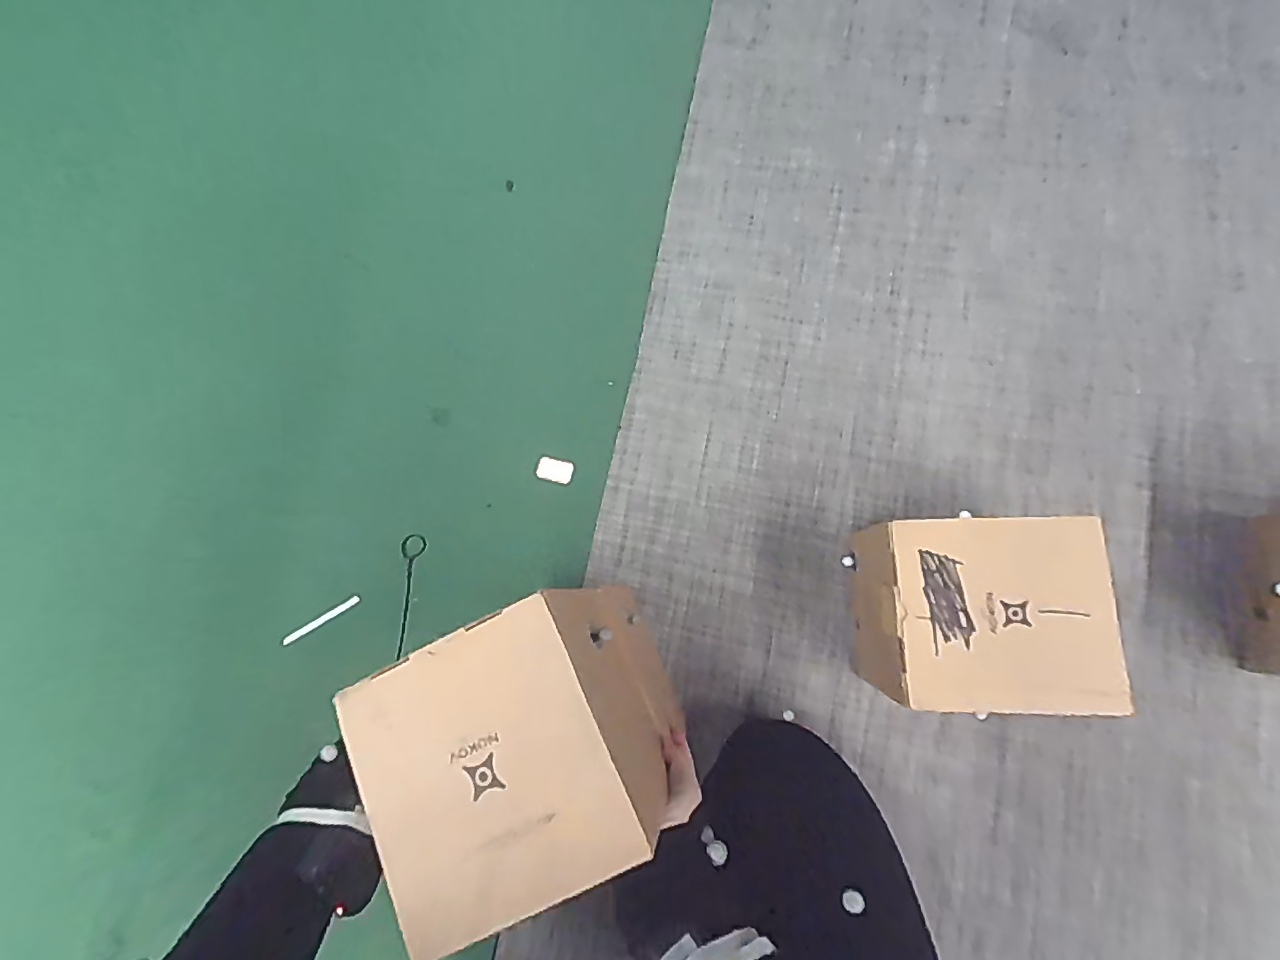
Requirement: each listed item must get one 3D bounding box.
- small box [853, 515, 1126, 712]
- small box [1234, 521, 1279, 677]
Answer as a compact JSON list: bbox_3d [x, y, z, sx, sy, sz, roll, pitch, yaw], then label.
[{"bbox_3d":[0.323,0.129,0.547,0.179,0.176,0.168,-2,79,8],"label":"small box"},{"bbox_3d":[0.717,0.120,0.488,0.179,0.176,0.168,11,80,11],"label":"small box"}]
